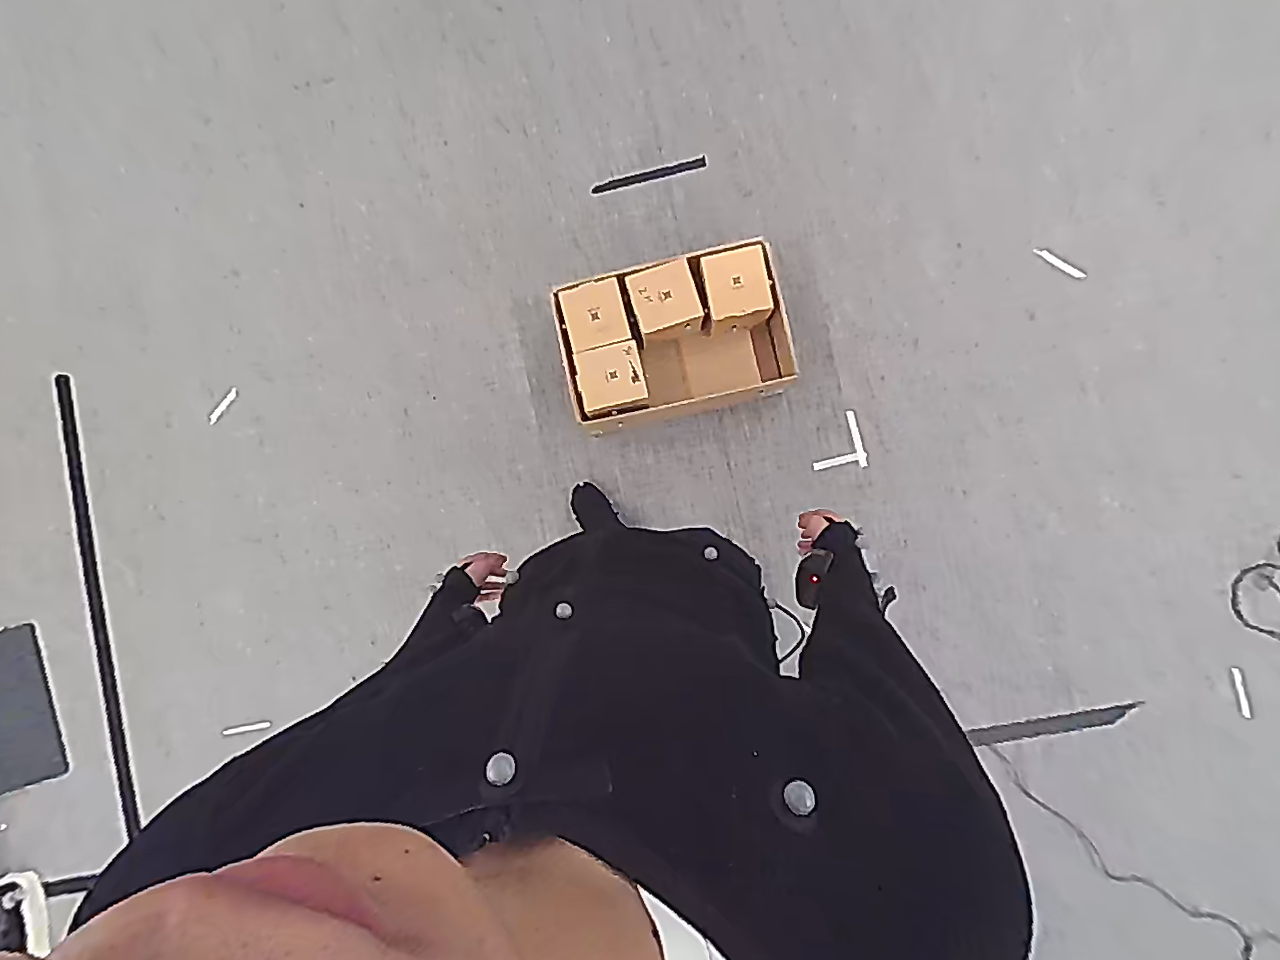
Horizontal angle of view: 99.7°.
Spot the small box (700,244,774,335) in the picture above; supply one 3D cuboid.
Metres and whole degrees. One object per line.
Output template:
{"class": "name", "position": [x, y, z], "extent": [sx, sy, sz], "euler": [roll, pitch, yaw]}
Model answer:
{"class": "small box", "position": [0.265, -0.528, 1.516], "extent": [0.168, 0.176, 0.179], "euler": [-12, 90, 4]}
